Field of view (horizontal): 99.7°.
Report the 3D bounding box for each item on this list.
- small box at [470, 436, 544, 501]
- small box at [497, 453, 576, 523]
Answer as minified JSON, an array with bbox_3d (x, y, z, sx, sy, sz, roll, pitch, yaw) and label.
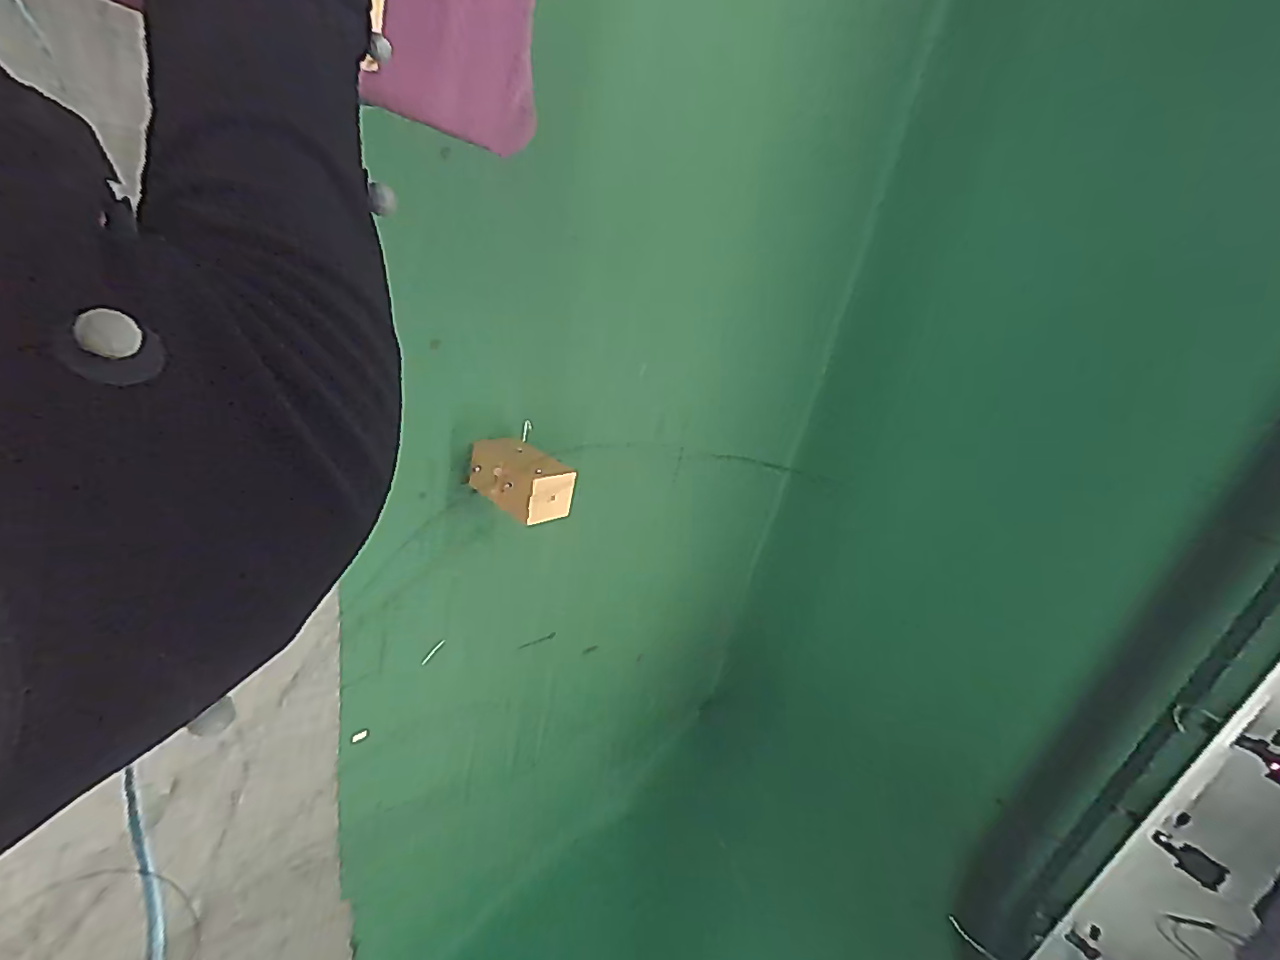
[{"bbox_3d":[-0.462,-0.046,1.874,0.179,0.176,0.168,-11,122,-49],"label":"small box"},{"bbox_3d":[-0.343,0.018,1.783,0.179,0.176,0.168,-13,124,-47],"label":"small box"}]
